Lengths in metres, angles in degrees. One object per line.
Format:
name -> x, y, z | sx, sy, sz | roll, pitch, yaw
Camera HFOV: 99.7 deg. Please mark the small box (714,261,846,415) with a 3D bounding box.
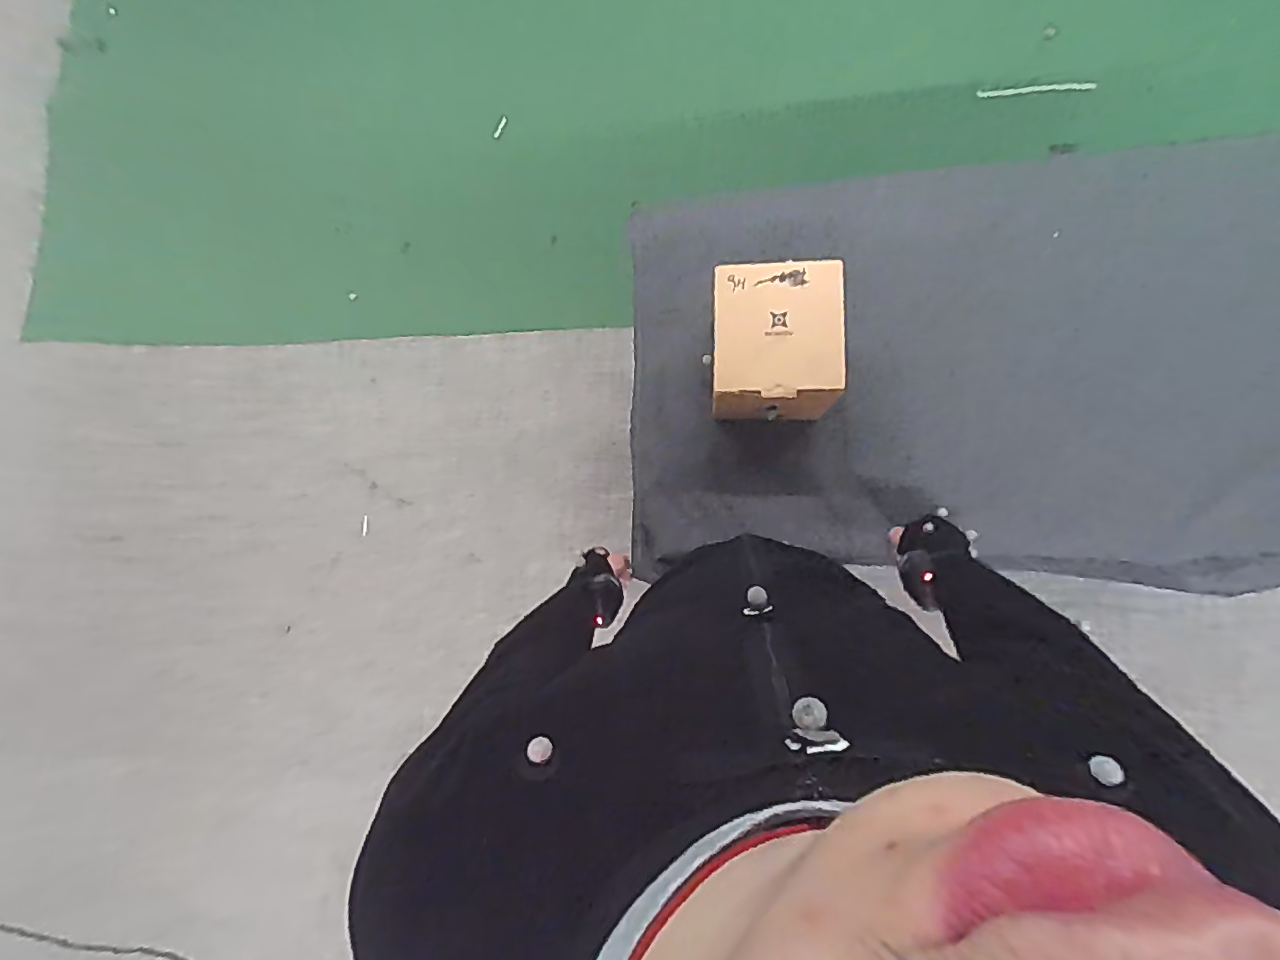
small box -> 0.193, -0.192, 0.779 | 0.168, 0.176, 0.179 | 1, 85, 7
